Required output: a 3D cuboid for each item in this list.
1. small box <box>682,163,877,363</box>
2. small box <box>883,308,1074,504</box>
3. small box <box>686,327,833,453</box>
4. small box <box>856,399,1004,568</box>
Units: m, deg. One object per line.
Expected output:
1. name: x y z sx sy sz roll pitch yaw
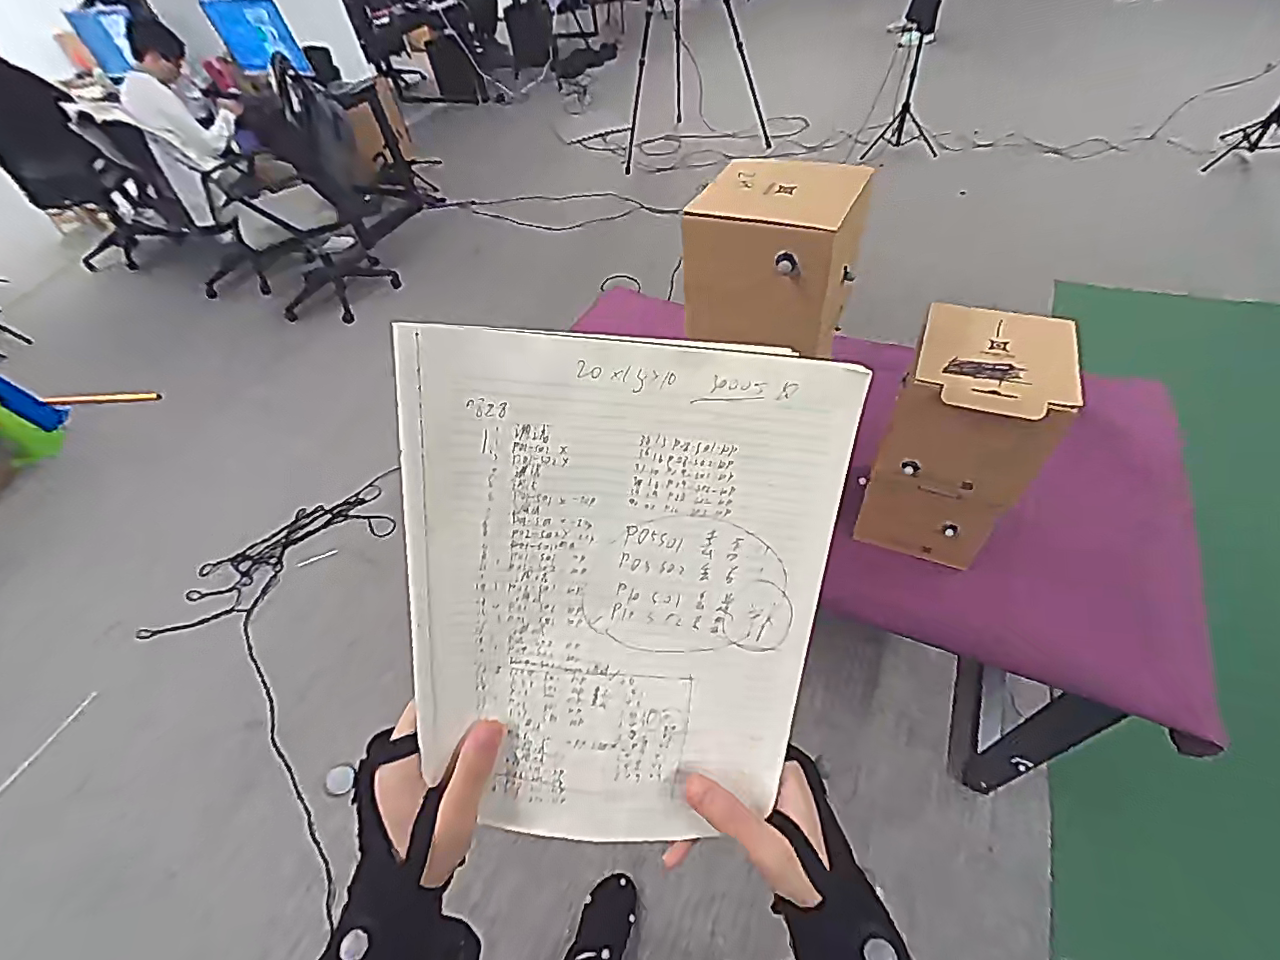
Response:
1. small box: 0.168 -0.268 0.673 0.179 0.176 0.168 19 53 23
2. small box: 0.430 -0.095 0.705 0.168 0.176 0.179 17 52 20
3. small box: 0.181 -0.167 0.803 0.168 0.176 0.179 17 53 22
4. small box: 0.445 0.008 0.832 0.168 0.176 0.179 17 53 21
